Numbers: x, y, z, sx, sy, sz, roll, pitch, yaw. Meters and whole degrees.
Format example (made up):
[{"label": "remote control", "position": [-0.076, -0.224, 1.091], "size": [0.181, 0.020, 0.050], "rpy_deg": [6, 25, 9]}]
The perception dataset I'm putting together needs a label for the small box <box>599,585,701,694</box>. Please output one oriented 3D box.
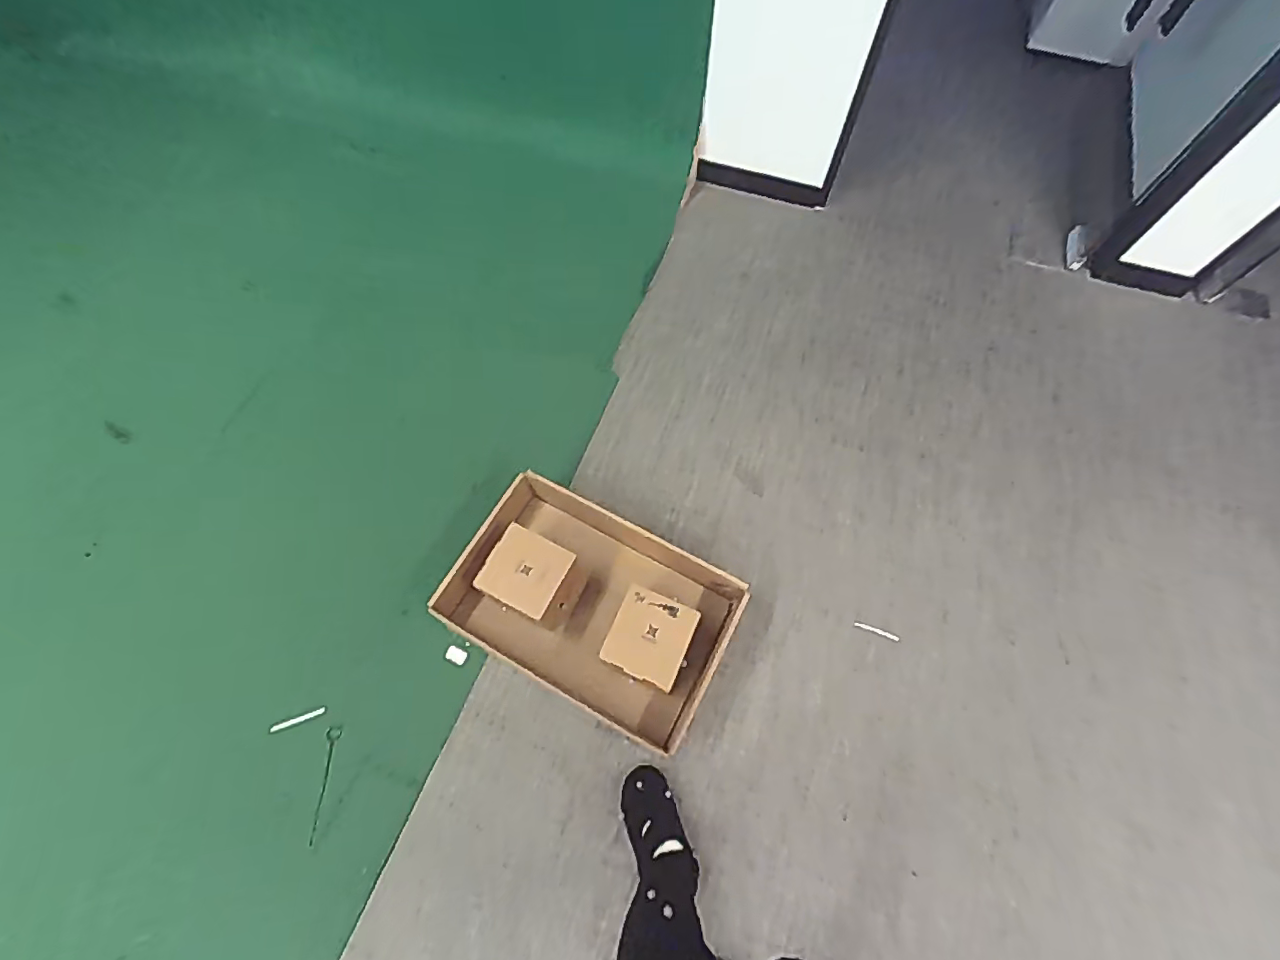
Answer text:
[{"label": "small box", "position": [0.025, 0.363, 1.209], "size": [0.168, 0.176, 0.179], "rpy_deg": [23, 69, 9]}]
